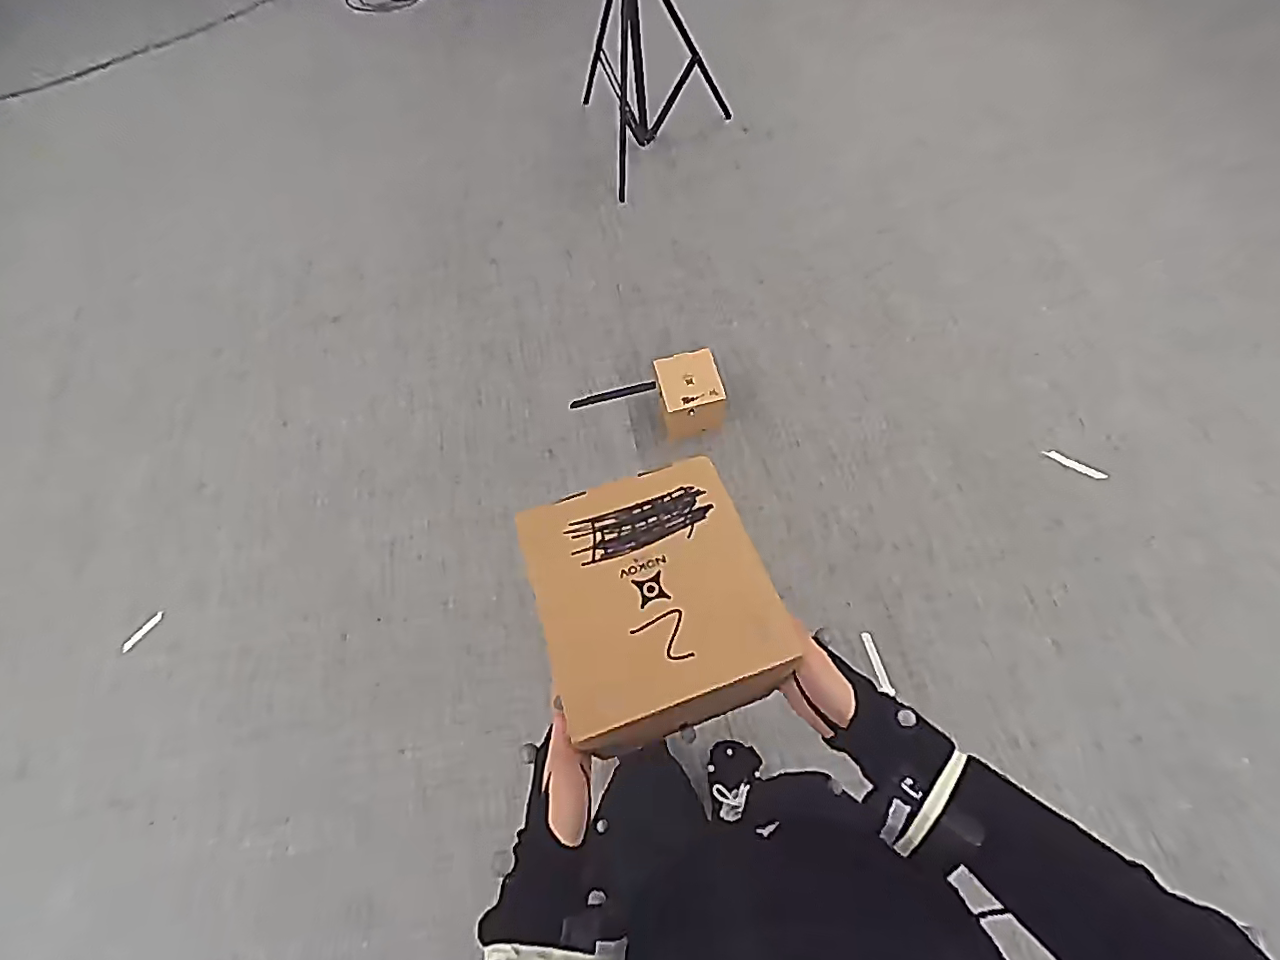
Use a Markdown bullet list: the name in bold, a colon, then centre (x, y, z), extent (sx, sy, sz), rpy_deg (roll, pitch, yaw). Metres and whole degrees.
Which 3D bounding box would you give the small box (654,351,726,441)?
- **small box**: centre (0.141, -0.238, 1.560), extent (0.168, 0.176, 0.179), rpy_deg (-14, 65, -1)
